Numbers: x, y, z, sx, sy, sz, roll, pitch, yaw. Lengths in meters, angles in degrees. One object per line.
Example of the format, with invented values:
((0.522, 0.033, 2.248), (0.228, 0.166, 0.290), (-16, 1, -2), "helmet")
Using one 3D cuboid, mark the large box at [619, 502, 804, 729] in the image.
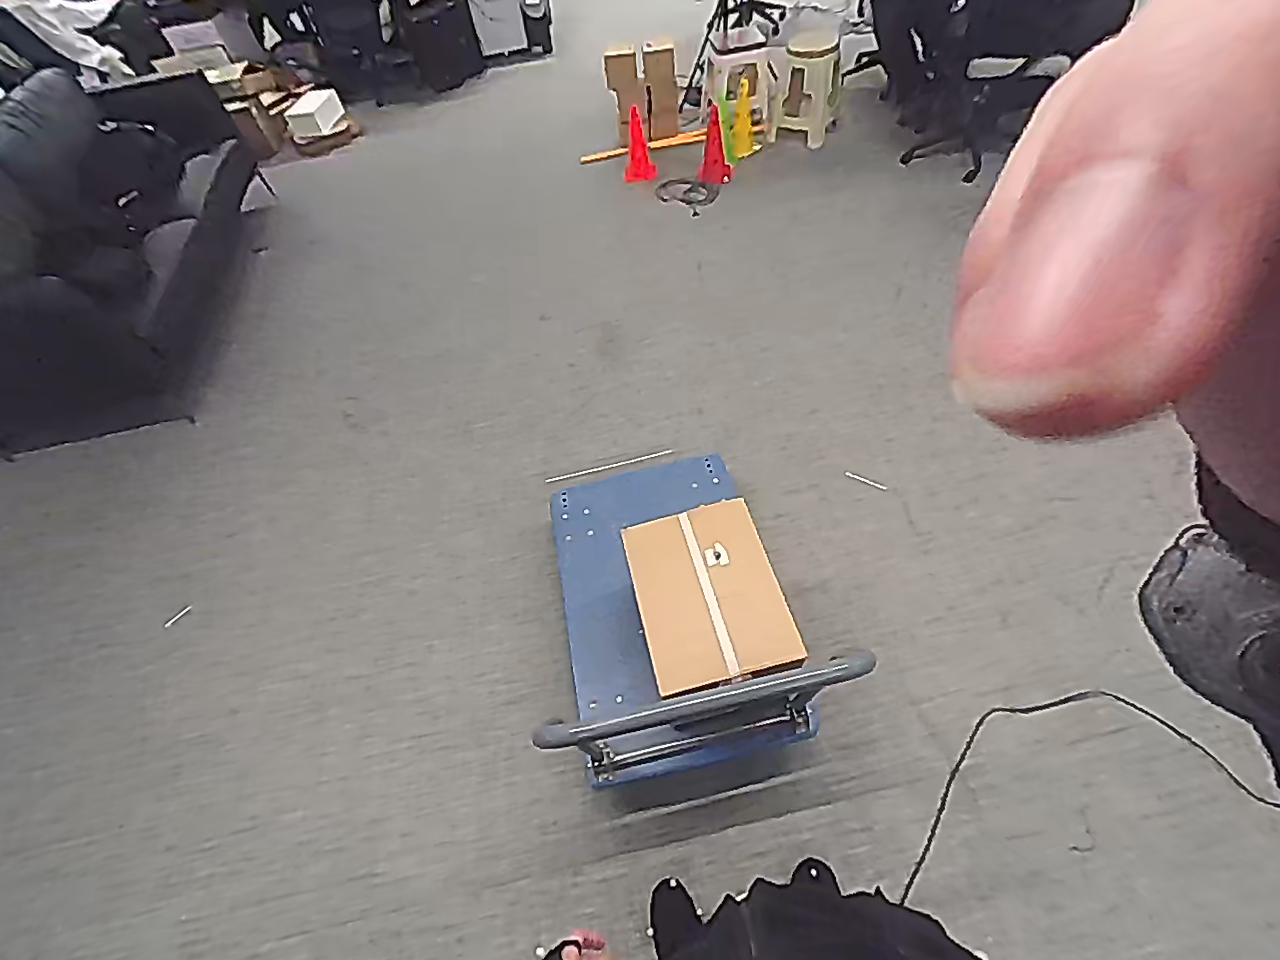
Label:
((0.160, 0.331, 1.318), (0.320, 0.320, 0.408), (-14, 54, -3), "large box")
